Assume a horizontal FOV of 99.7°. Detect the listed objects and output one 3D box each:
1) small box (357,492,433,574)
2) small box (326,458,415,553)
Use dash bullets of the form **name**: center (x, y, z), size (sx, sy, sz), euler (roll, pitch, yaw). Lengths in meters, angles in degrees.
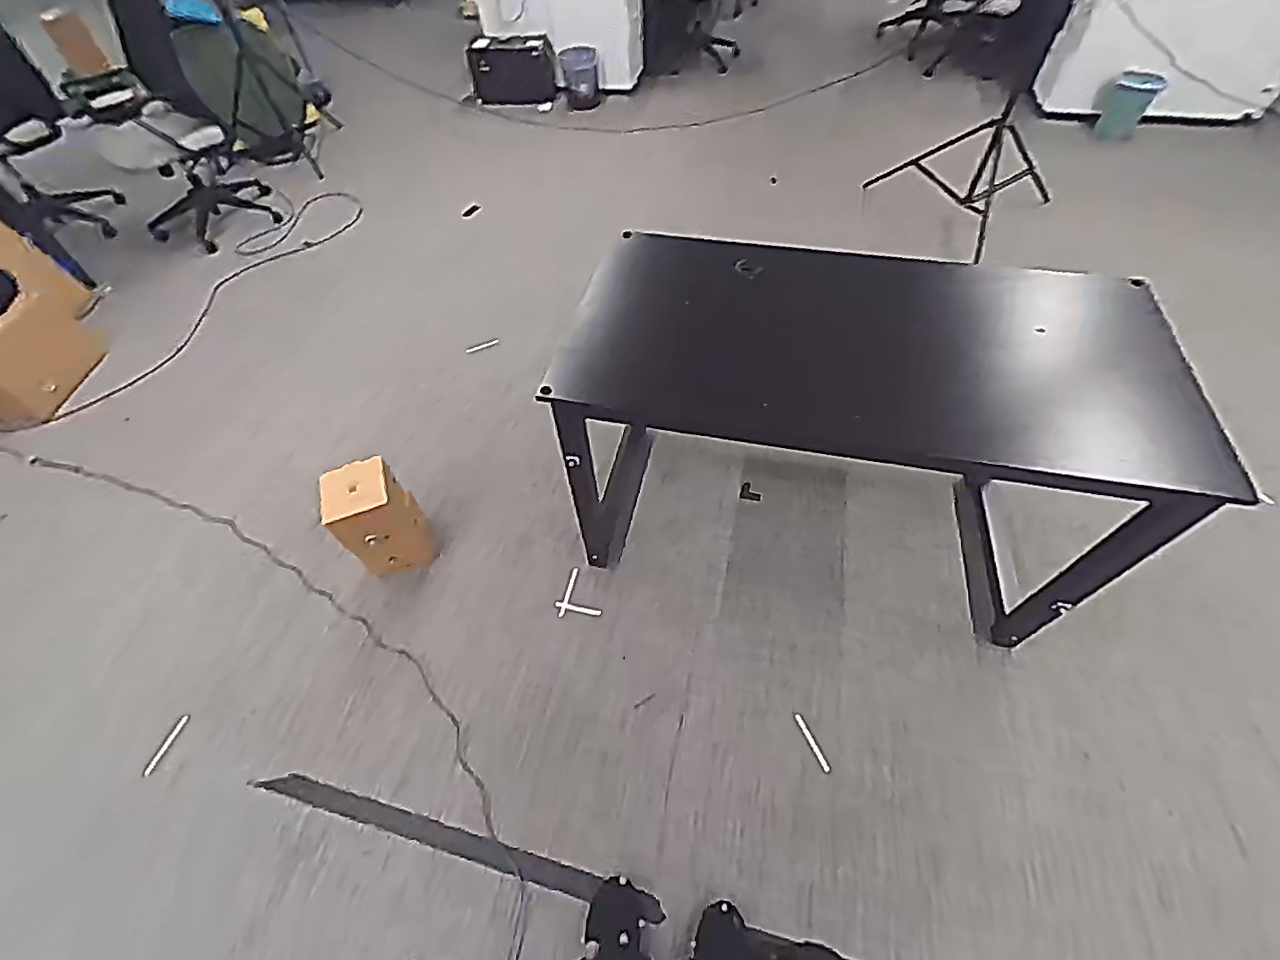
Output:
- **small box**: center (-0.740, 0.168, 1.642), size (0.168, 0.176, 0.179), euler (-15, 54, -10)
- **small box**: center (-0.749, 0.074, 1.509), size (0.168, 0.176, 0.179), euler (-20, 57, -10)
